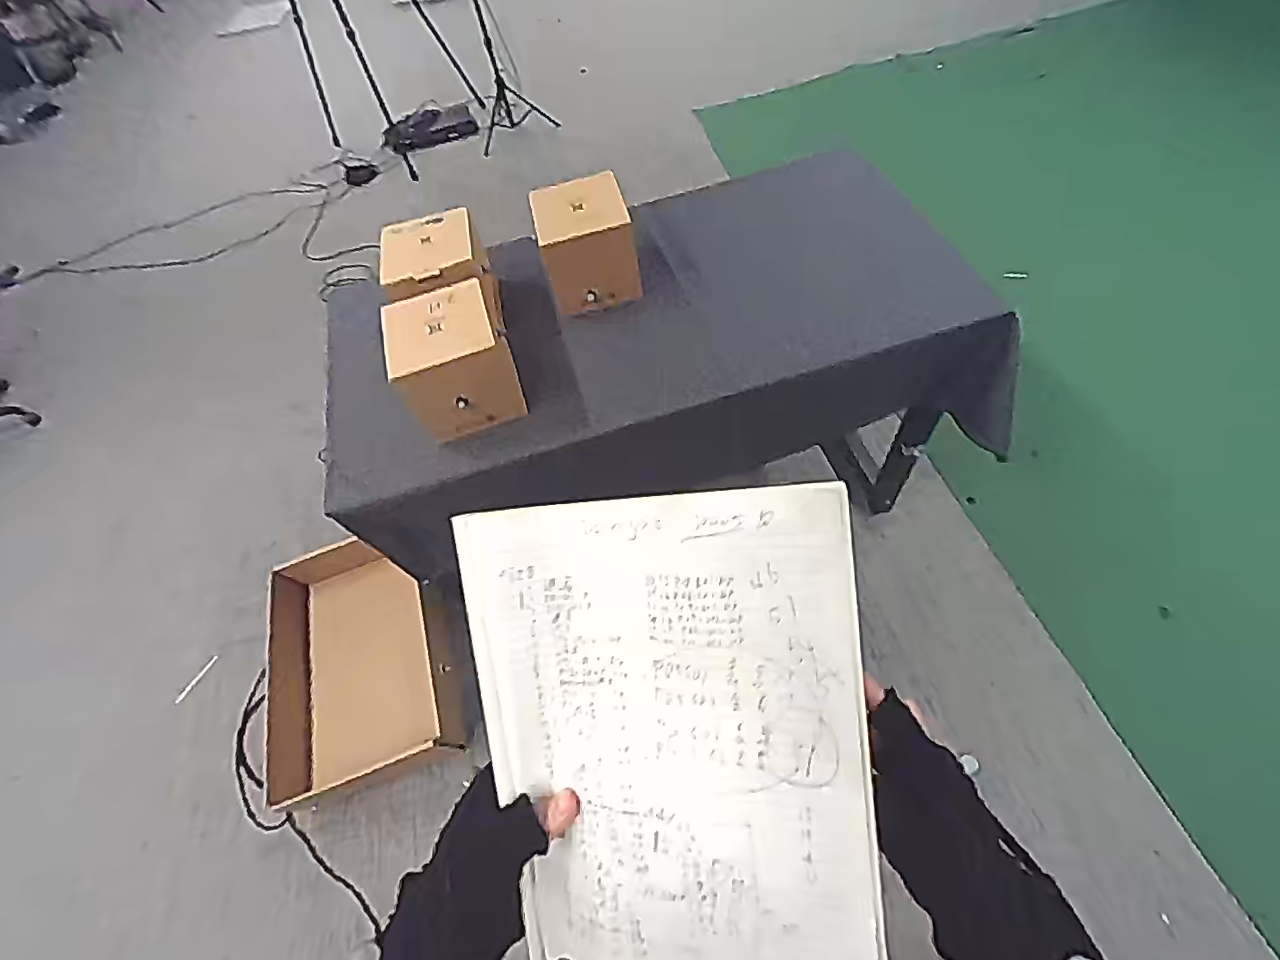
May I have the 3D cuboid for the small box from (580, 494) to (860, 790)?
[{"bbox_3d":[0.054,0.119,0.424,0.168,0.176,0.179,-7,76,7],"label":"small box"}]

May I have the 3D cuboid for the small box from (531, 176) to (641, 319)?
[{"bbox_3d":[-0.101,-0.444,1.040,0.168,0.176,0.179,-15,58,0],"label":"small box"}]
